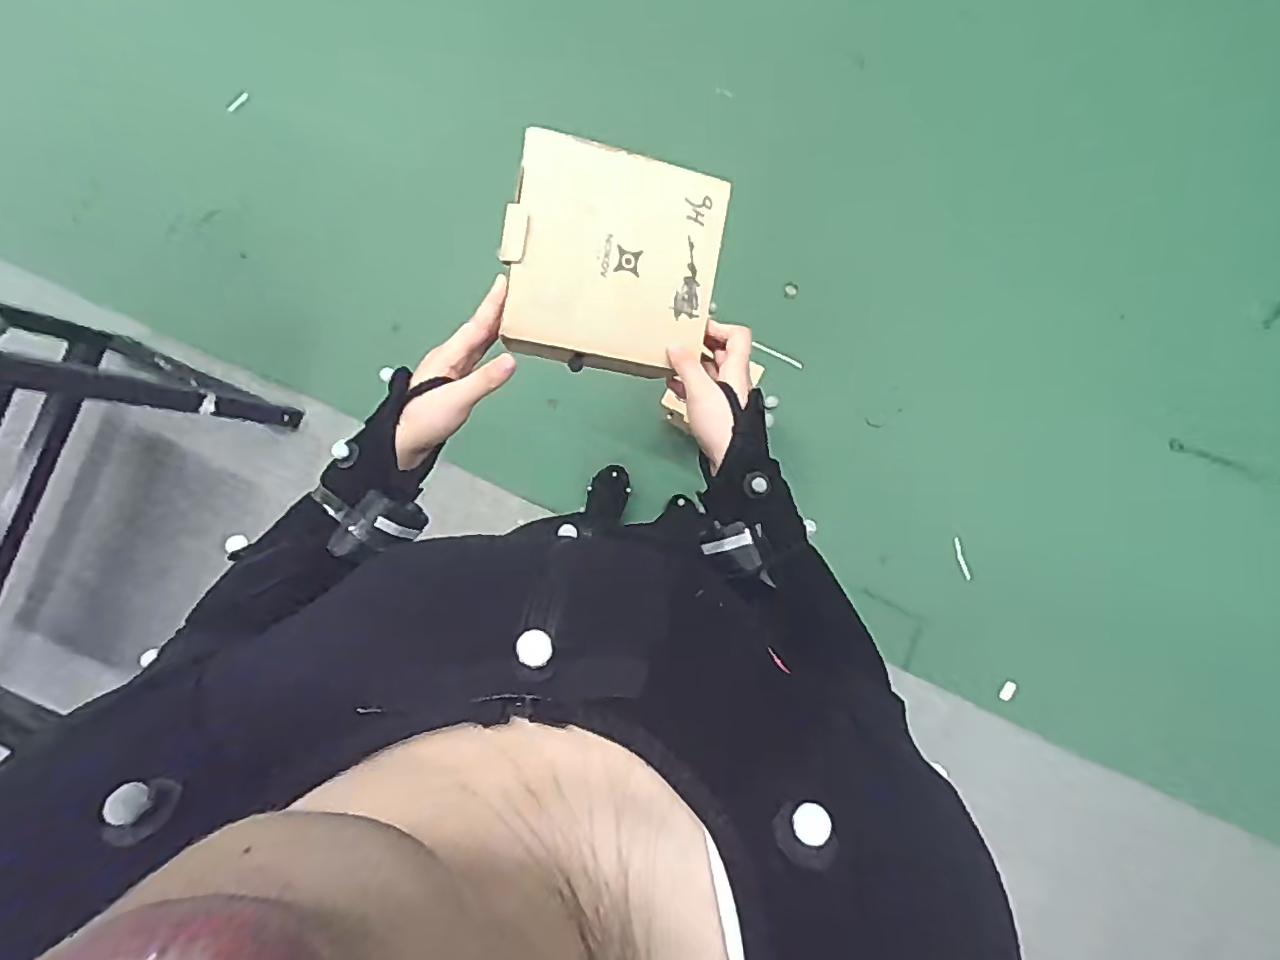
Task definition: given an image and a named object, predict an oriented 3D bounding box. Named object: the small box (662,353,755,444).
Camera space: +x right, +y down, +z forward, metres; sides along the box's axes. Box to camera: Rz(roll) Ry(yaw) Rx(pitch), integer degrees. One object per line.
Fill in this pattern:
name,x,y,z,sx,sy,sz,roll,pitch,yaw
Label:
small box,0.172,-0.203,1.398,0.179,0.176,0.168,29,92,2
